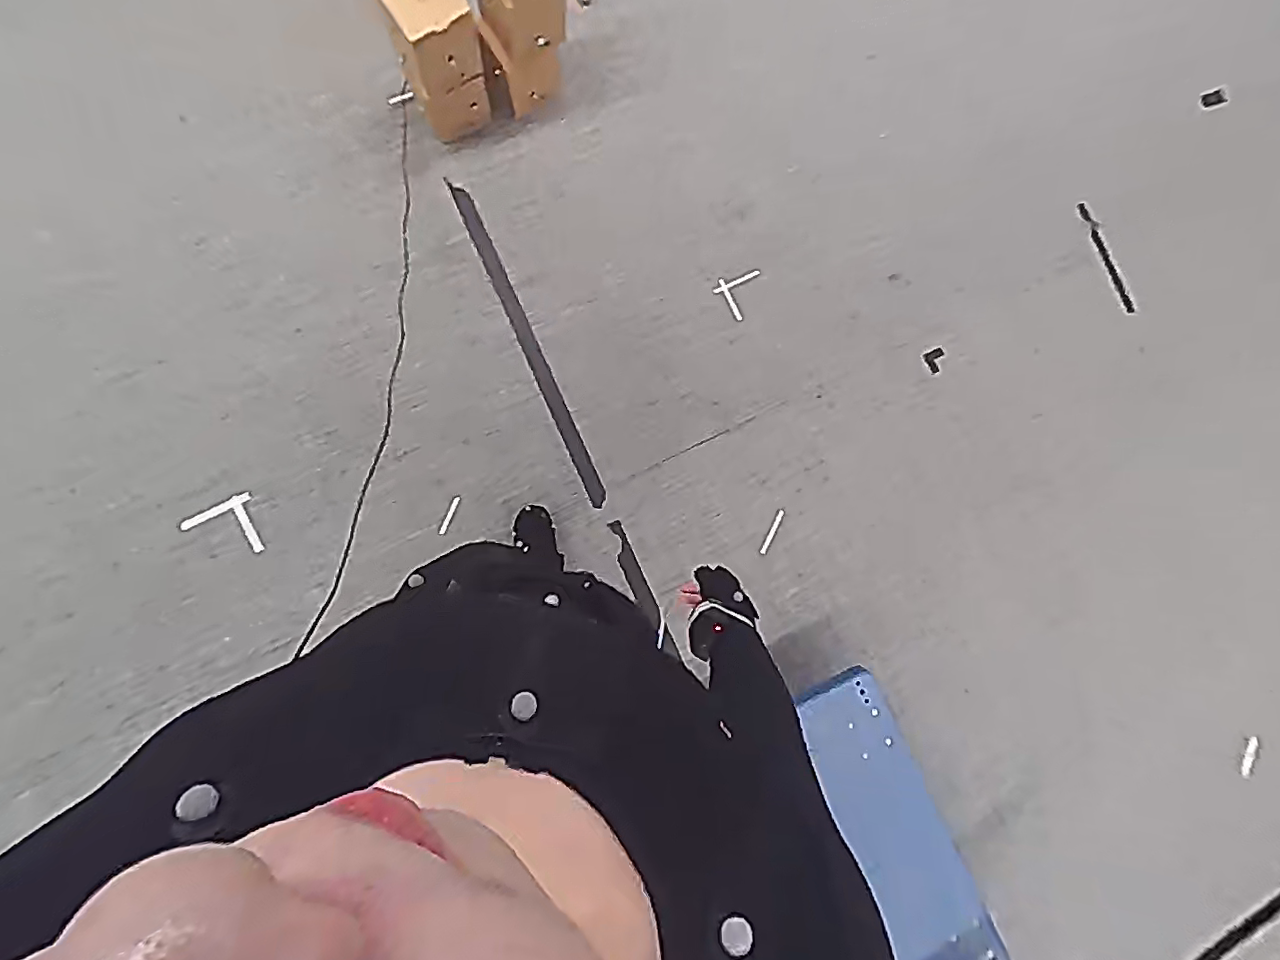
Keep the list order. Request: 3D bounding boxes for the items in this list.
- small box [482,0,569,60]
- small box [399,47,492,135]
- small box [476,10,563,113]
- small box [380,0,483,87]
[{"bbox_3d":[-0.292,-1.217,1.350,0.168,0.176,0.179,-34,91,-8],"label":"small box"},{"bbox_3d":[-0.523,-1.089,1.479,0.168,0.176,0.179,-30,89,-9],"label":"small box"},{"bbox_3d":[-0.331,-1.186,1.509,0.168,0.176,0.179,-35,91,-8],"label":"small box"},{"bbox_3d":[-0.505,-1.108,1.316,0.168,0.176,0.179,-34,90,-9],"label":"small box"}]
